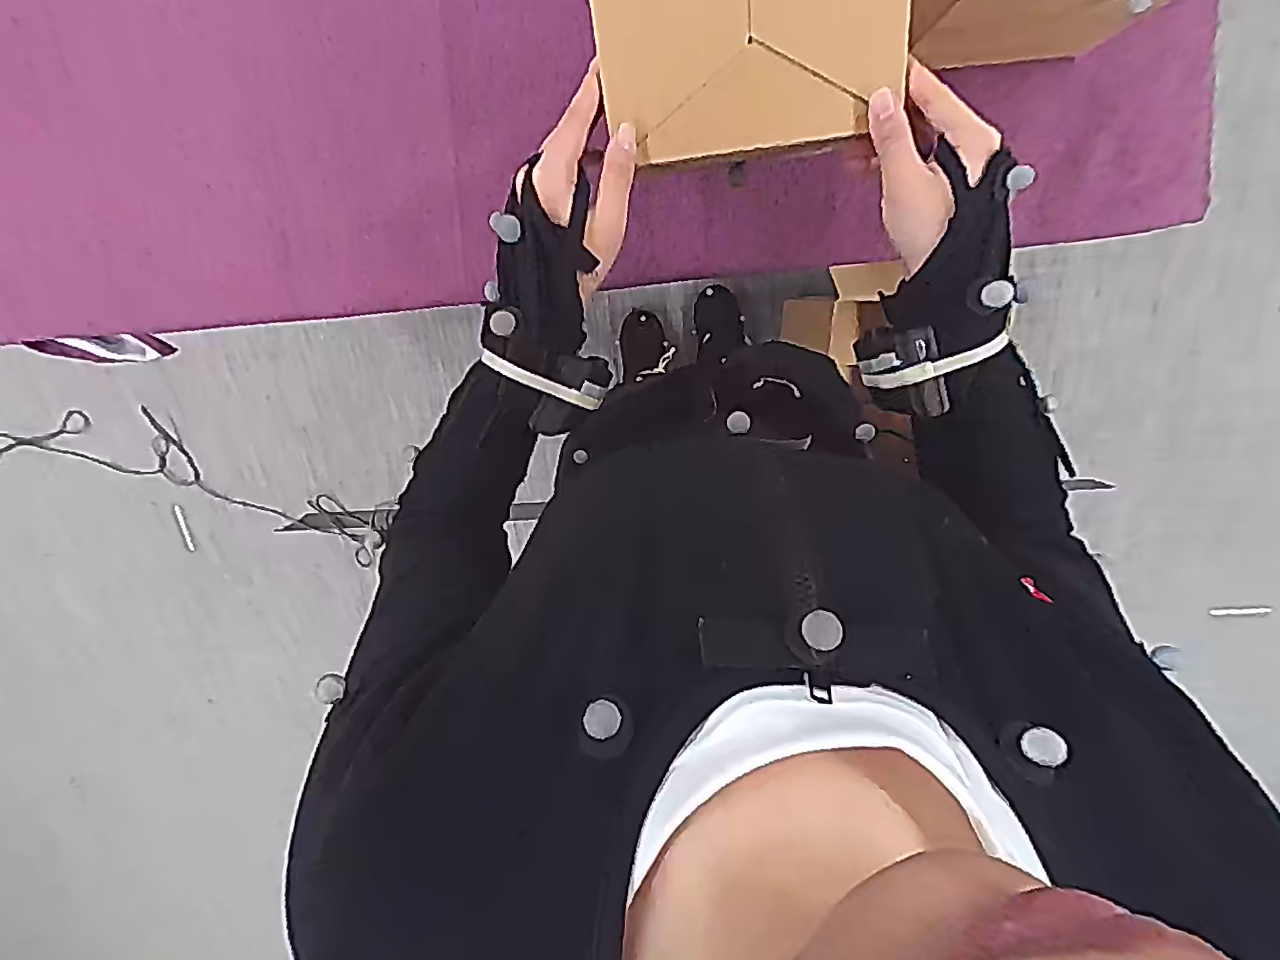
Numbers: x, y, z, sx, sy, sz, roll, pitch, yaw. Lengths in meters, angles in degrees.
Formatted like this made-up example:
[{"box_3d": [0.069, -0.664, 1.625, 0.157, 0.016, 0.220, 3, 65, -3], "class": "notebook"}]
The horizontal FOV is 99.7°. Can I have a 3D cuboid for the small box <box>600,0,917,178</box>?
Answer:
[{"box_3d": [0.062, -0.315, 0.362, 0.179, 0.176, 0.168, -6, 115, 5], "class": "small box"}]

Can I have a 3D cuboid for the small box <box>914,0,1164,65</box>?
[{"box_3d": [0.313, -0.439, 0.397, 0.179, 0.176, 0.168, -2, 107, 3], "class": "small box"}]
